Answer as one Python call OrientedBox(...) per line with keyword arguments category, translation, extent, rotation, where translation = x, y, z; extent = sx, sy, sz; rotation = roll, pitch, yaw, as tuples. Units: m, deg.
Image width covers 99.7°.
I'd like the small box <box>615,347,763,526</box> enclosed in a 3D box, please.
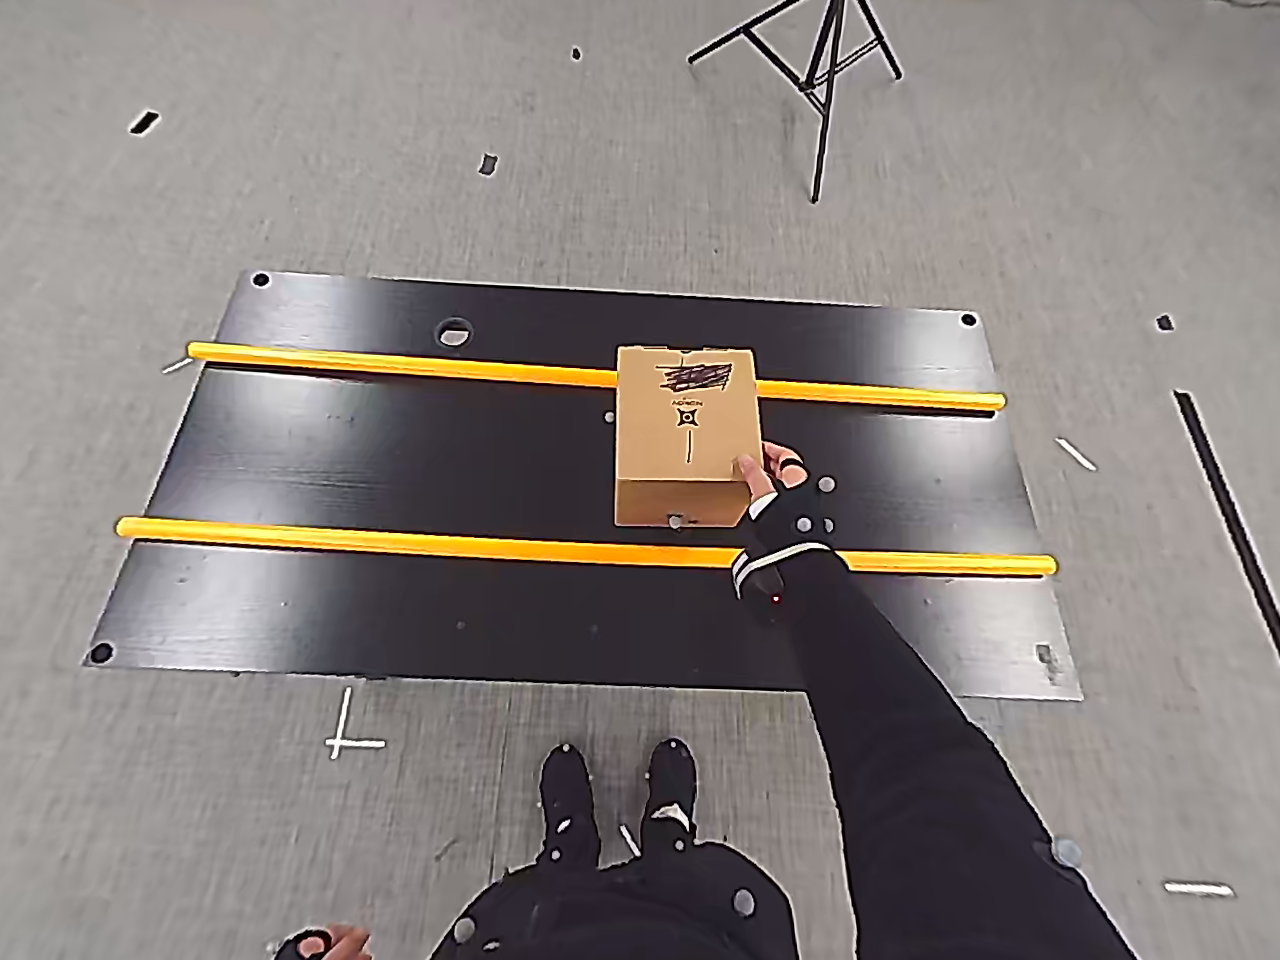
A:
OrientedBox(category="small box", translation=(0.052, -0.050, 0.702), extent=(0.168, 0.176, 0.179), rotation=(1, 68, -2))
